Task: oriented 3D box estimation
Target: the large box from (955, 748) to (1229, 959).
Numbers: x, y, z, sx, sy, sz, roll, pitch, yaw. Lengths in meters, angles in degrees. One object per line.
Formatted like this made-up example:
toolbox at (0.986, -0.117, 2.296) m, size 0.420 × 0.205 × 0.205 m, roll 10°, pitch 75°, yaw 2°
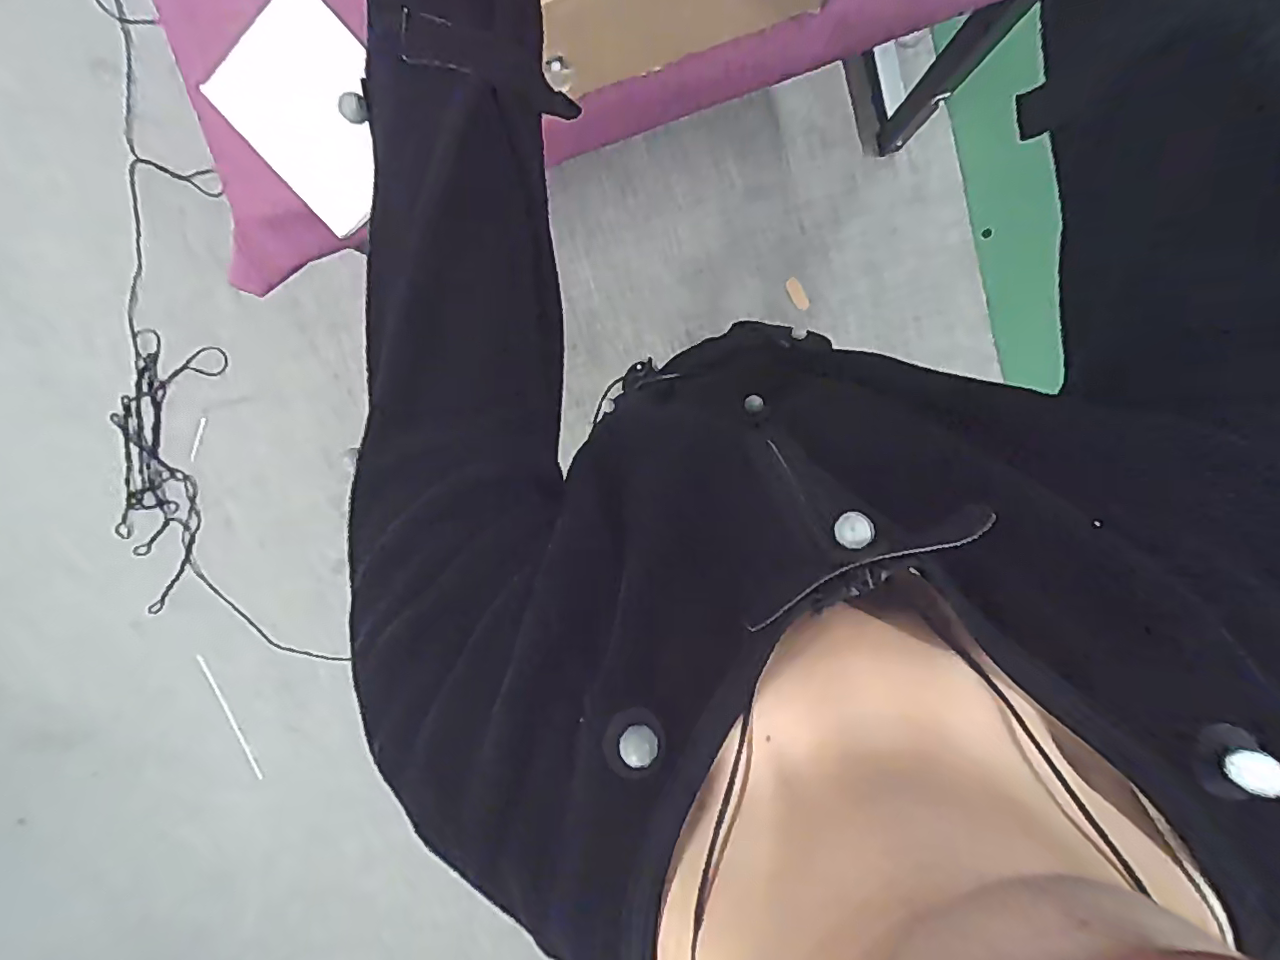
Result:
large box at (1.159, 1.010, 1.437) m, size 0.408 × 0.320 × 0.320 m, roll -31°, pitch 97°, yaw 8°
